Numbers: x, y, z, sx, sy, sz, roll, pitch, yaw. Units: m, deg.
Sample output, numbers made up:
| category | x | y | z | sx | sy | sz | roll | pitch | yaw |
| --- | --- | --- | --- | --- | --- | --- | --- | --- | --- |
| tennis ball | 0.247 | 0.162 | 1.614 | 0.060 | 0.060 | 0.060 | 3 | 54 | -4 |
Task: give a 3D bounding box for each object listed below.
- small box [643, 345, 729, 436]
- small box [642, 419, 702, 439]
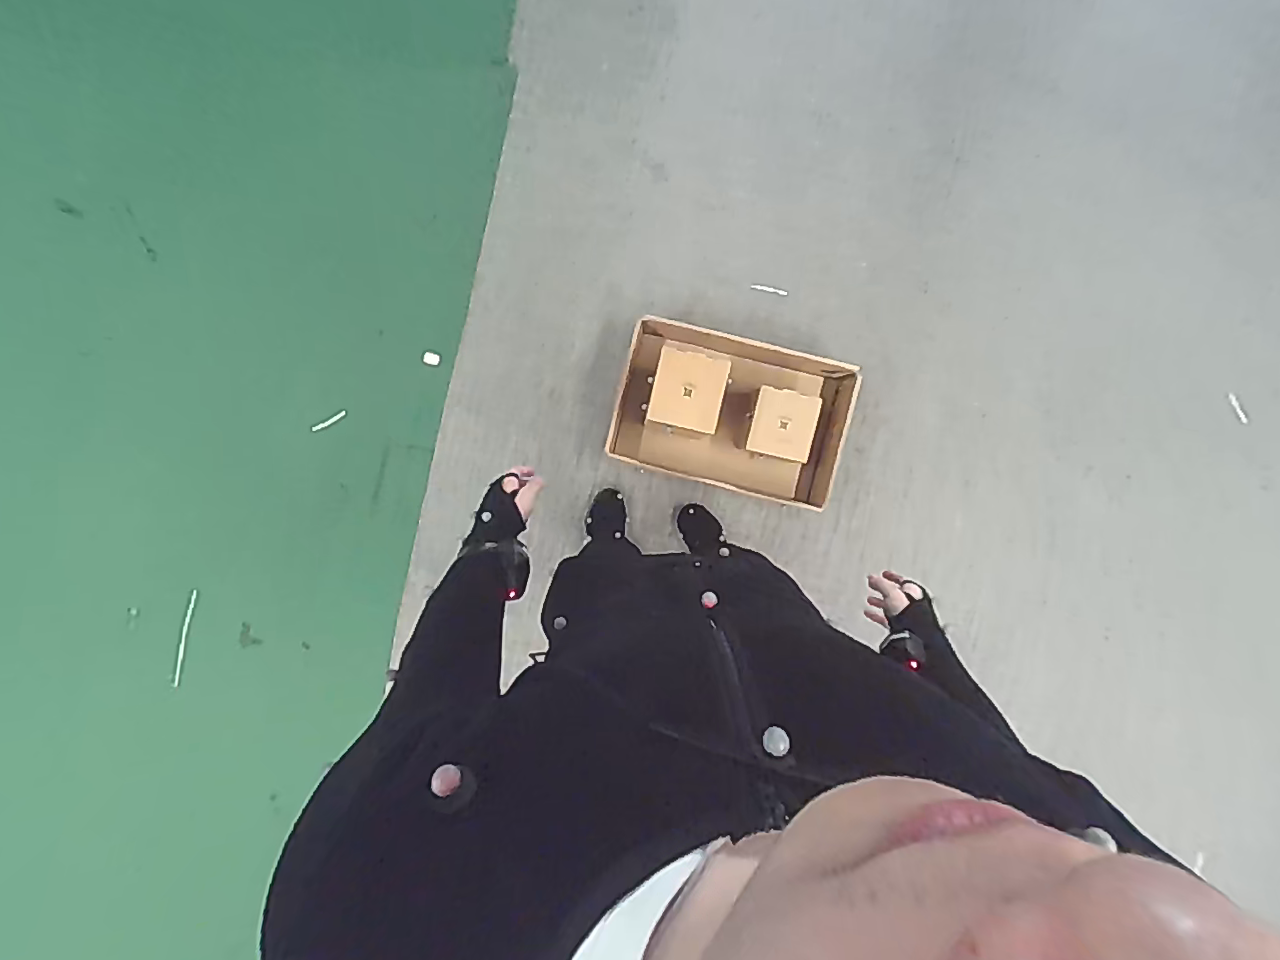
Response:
| category | x | y | z | sx | sy | sz | roll | pitch | yaw |
| --- | --- | --- | --- | --- | --- | --- | --- | --- | --- |
| small box | 0.108 | -0.210 | 1.320 | 0.168 | 0.176 | 0.179 | 13 | 91 | 1 |
| small box | 0.107 | -0.216 | 1.483 | 0.168 | 0.176 | 0.179 | 14 | 91 | 0 |
